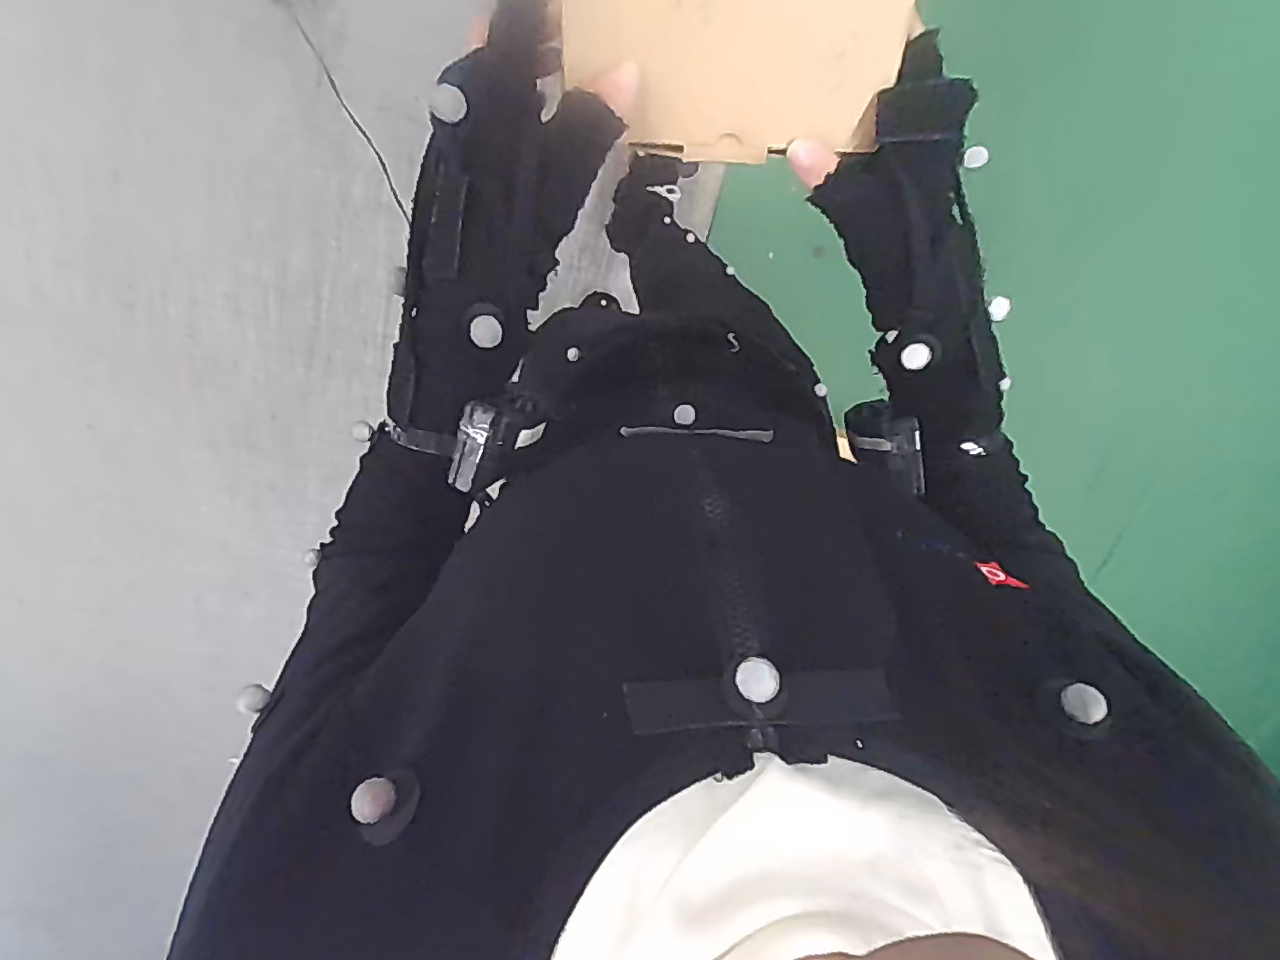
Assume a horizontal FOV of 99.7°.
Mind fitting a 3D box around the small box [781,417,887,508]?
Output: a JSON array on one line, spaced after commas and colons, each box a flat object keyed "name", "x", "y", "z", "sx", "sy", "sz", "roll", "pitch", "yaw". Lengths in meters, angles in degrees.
[{"name": "small box", "x": 0.509, "y": -0.054, "z": 1.449, "sx": 0.179, "sy": 0.176, "sz": 0.168, "roll": 19, "pitch": 112, "yaw": -17}]
